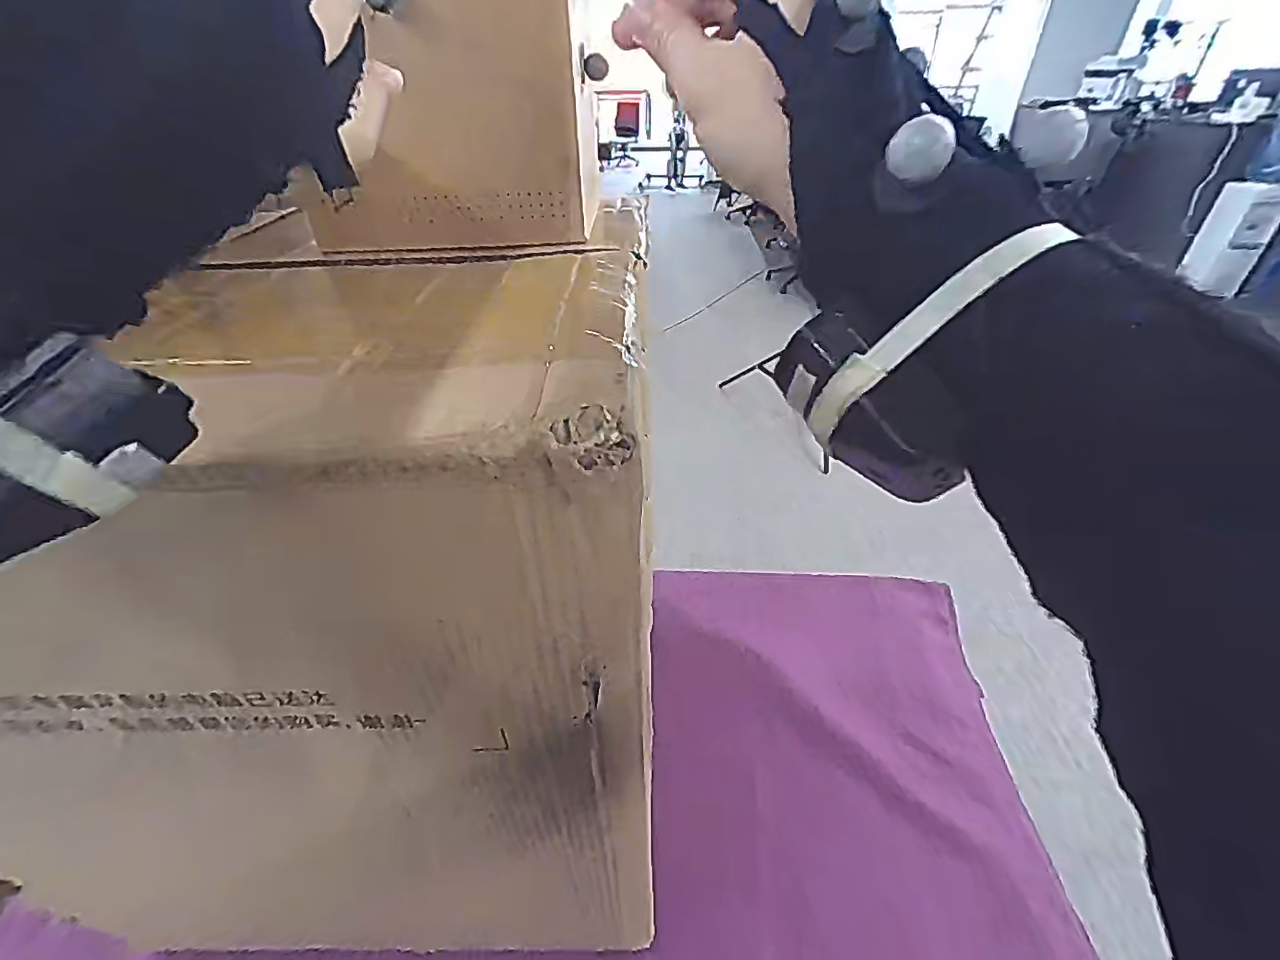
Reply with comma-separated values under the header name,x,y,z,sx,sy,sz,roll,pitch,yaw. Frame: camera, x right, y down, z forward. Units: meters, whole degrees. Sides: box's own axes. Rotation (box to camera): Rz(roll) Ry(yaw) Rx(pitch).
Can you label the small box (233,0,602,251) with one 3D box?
name,x,y,z,sx,sy,sz,roll,pitch,yaw
small box,-0.120,-0.262,0.360,0.179,0.176,0.168,-2,37,1
